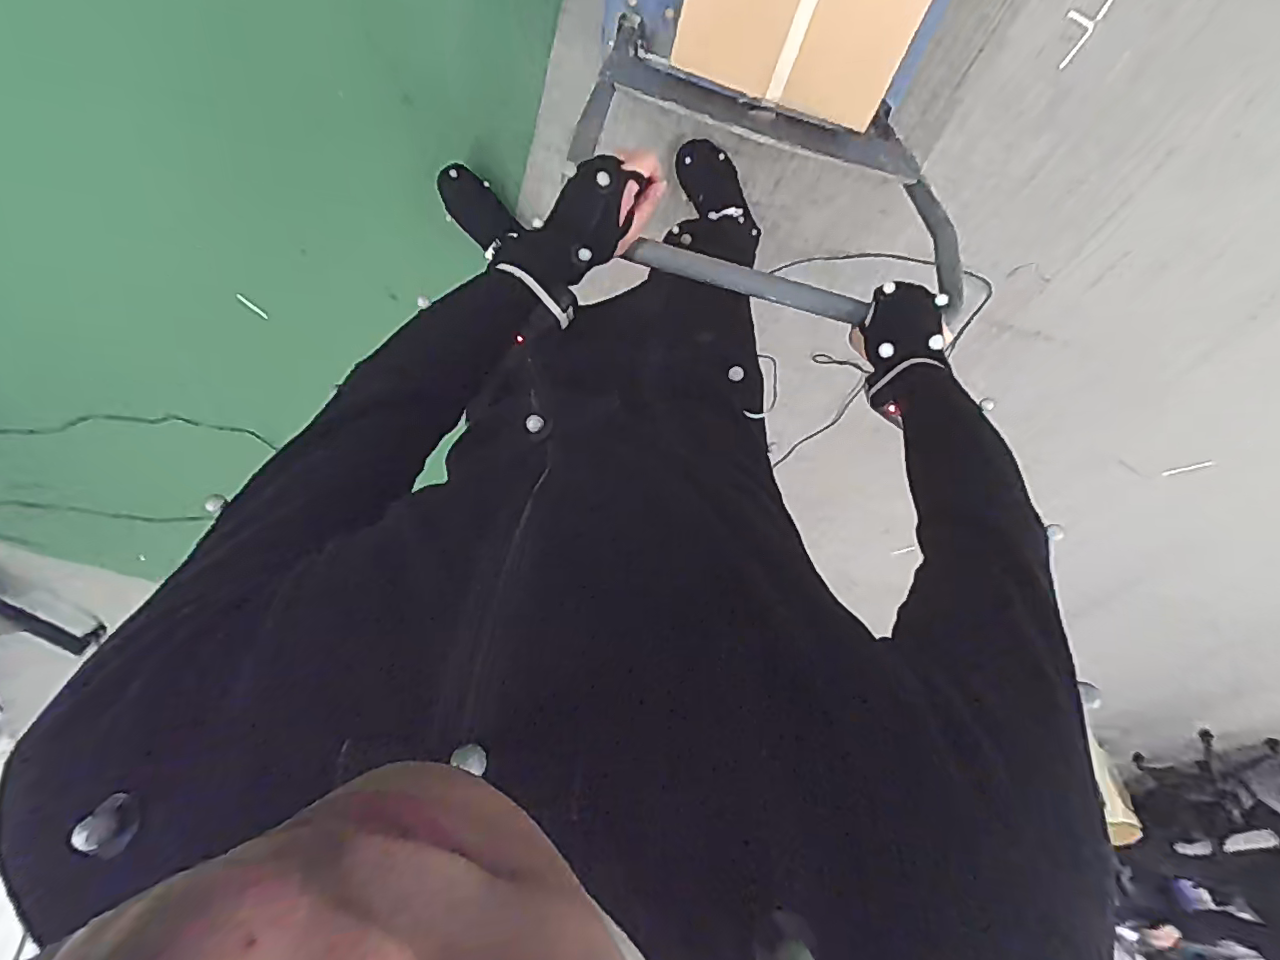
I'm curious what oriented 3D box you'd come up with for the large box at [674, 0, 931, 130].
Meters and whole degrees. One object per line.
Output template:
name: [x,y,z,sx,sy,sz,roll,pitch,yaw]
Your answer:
large box: [0.255,-0.794,0.759,0.320,0.320,0.408,14,135,-8]
